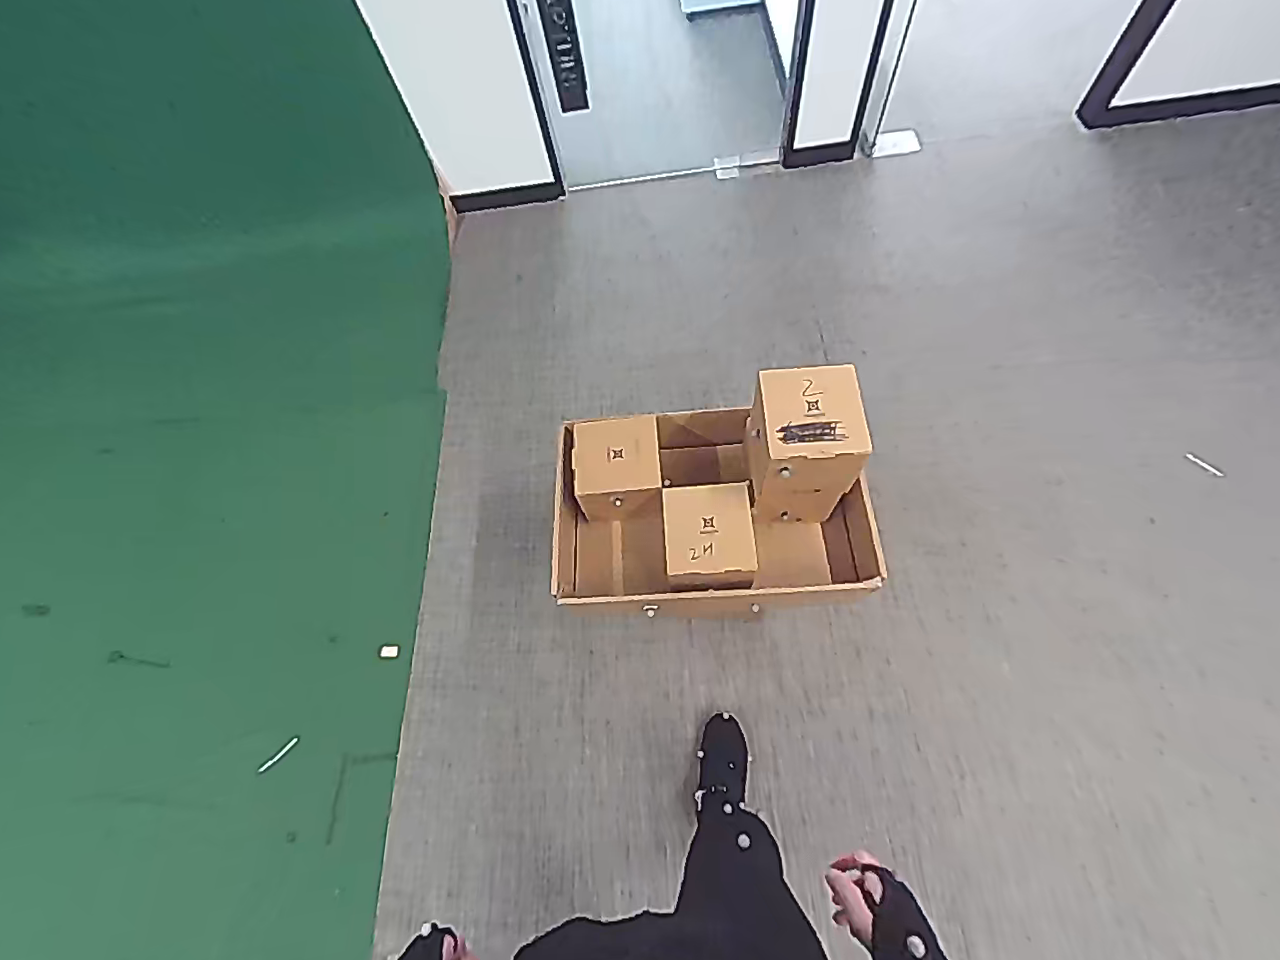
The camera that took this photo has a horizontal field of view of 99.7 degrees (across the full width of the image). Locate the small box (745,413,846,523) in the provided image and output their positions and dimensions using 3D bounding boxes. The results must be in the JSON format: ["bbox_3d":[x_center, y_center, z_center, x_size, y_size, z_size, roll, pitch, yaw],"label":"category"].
[{"bbox_3d":[0.313,-0.021,1.126,0.168,0.176,0.179,-3,66,5],"label":"small box"}]
